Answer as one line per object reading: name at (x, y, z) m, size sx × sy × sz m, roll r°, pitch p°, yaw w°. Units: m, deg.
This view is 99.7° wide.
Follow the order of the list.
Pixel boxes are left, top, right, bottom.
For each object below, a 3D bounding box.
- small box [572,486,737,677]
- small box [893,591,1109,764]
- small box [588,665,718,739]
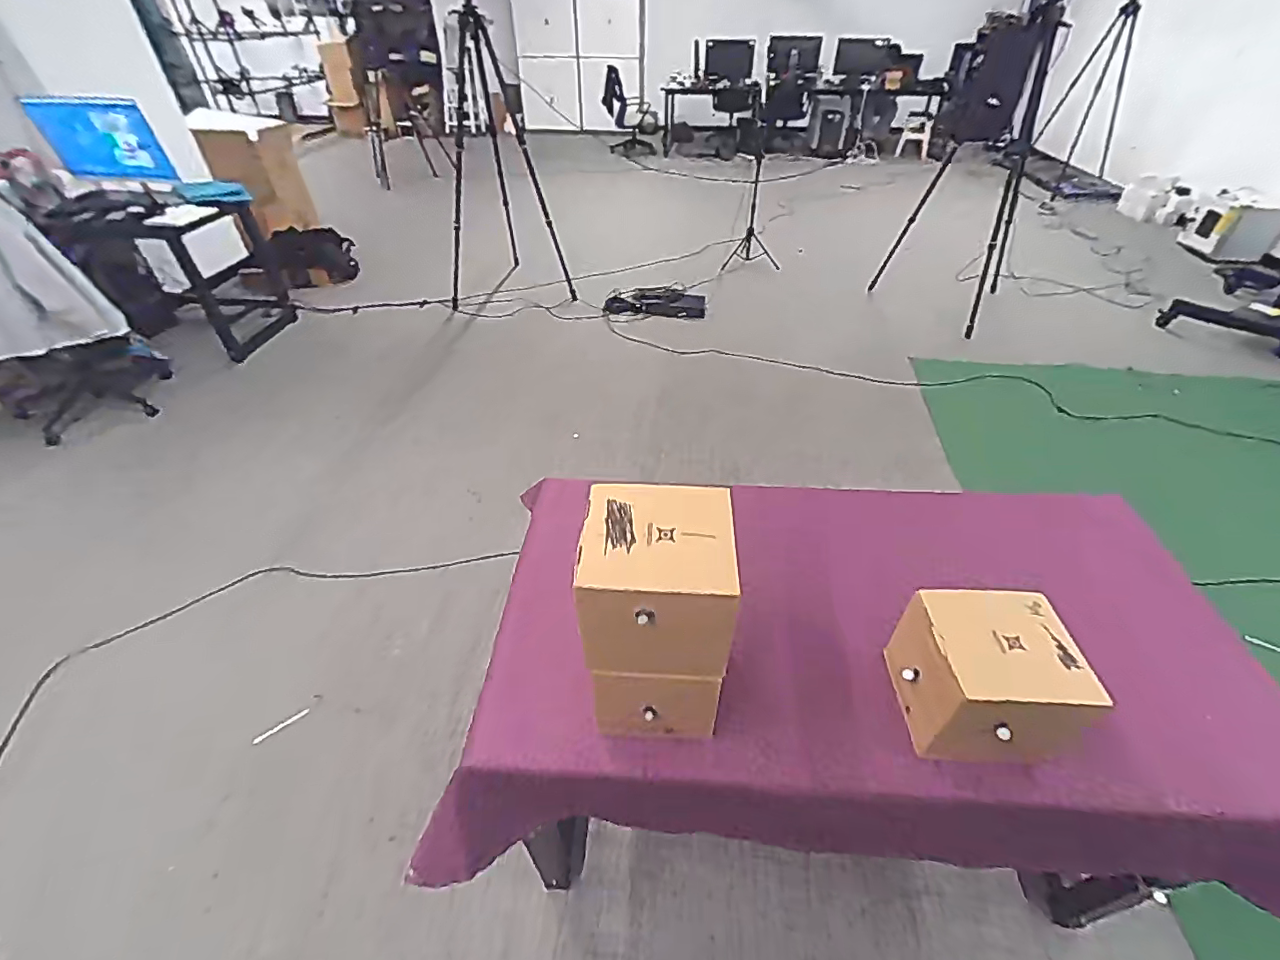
small box at (0.020, 0.126, 0.670) m, size 0.179 × 0.176 × 0.168 m, roll 2°, pitch 41°, yaw 3°
small box at (0.469, 0.272, 0.745) m, size 0.179 × 0.176 × 0.168 m, roll 1°, pitch 41°, yaw 3°
small box at (0.023, 0.250, 0.778) m, size 0.168 × 0.176 × 0.179 m, roll 3°, pitch 40°, yaw 3°
